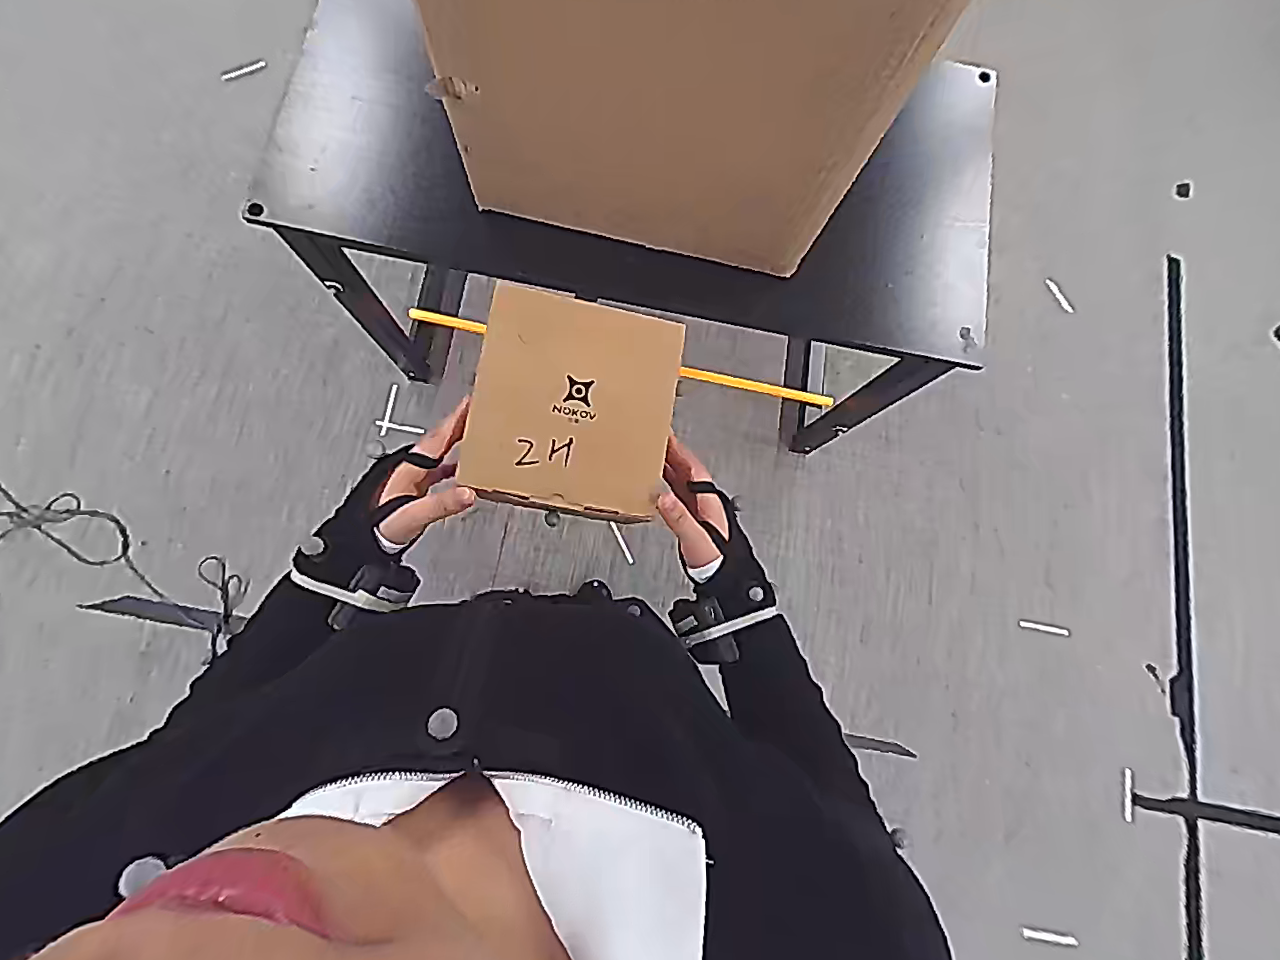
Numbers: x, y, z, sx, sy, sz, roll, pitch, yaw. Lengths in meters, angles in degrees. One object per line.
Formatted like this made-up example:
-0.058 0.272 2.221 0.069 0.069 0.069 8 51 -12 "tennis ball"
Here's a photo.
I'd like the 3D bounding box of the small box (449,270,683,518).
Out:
-0.069 -0.064 0.518 0.168 0.176 0.179 11 83 -8 "small box"
